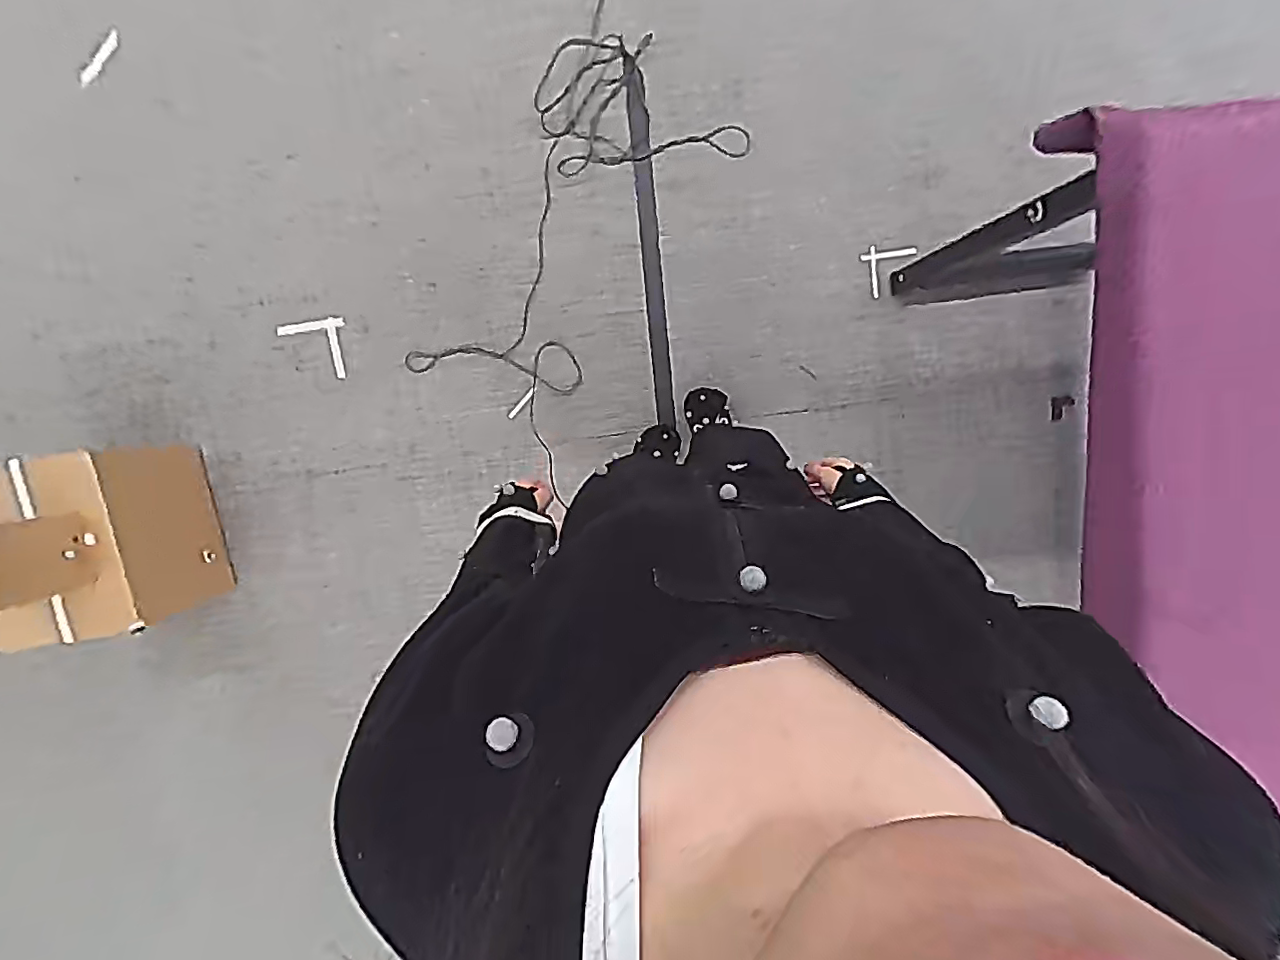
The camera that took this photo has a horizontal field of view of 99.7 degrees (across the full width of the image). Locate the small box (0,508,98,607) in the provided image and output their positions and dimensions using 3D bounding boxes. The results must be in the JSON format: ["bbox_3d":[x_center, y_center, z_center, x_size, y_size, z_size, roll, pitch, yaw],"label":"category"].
[{"bbox_3d":[-1.266,0.159,1.083,0.179,0.176,0.168,-10,97,-3],"label":"small box"}]

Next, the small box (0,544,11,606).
[{"bbox_3d":[-1.253,0.172,0.922,0.179,0.176,0.168,-11,96,-1],"label":"small box"}]
